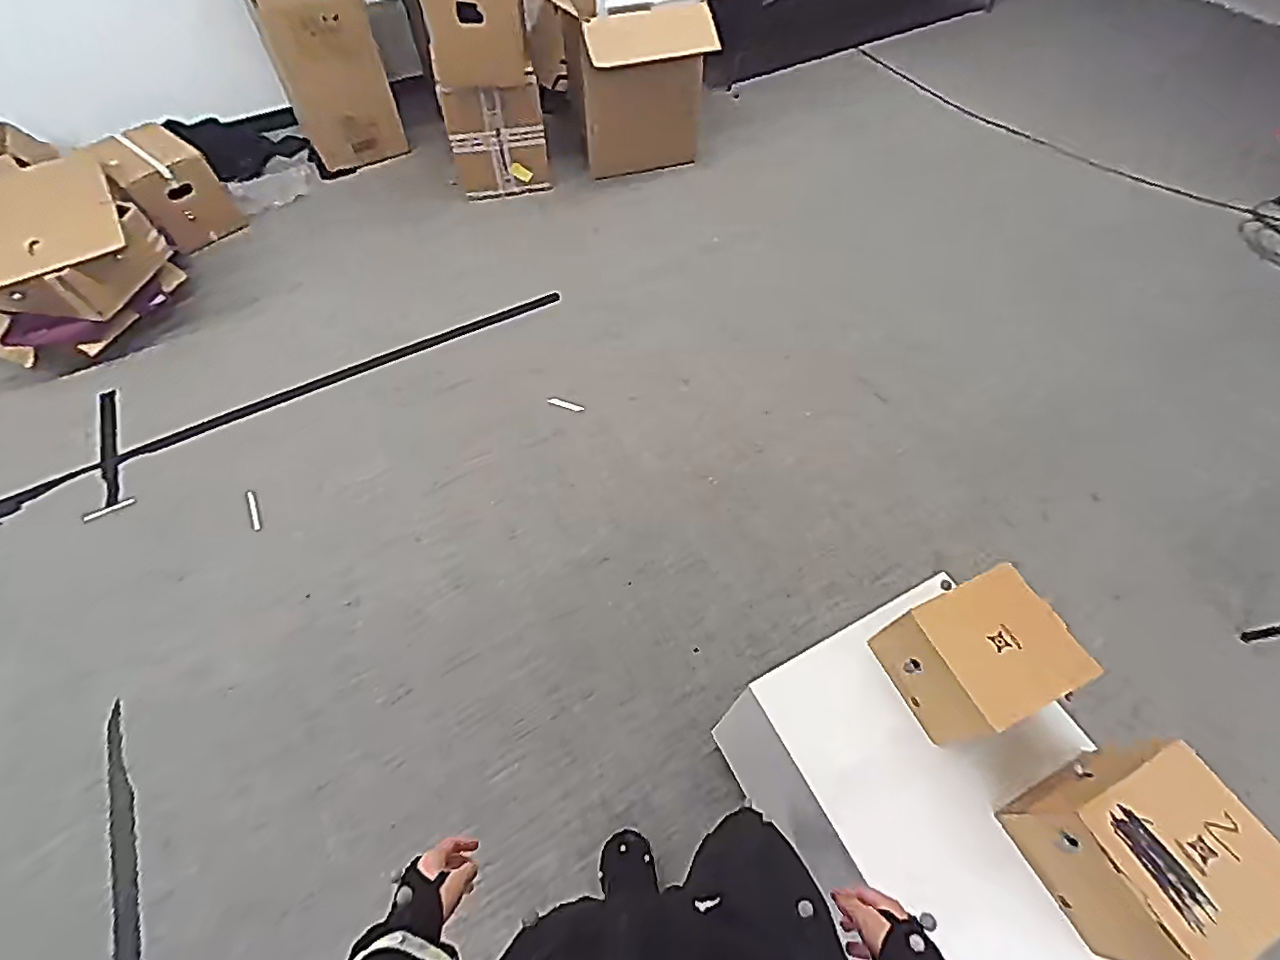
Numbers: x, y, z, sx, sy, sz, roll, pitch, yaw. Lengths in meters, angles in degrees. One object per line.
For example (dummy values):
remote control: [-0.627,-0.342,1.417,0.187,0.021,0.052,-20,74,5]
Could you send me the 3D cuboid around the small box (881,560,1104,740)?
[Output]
small box: [0.468,0.244,0.758,0.179,0.176,0.168,-21,61,-12]
